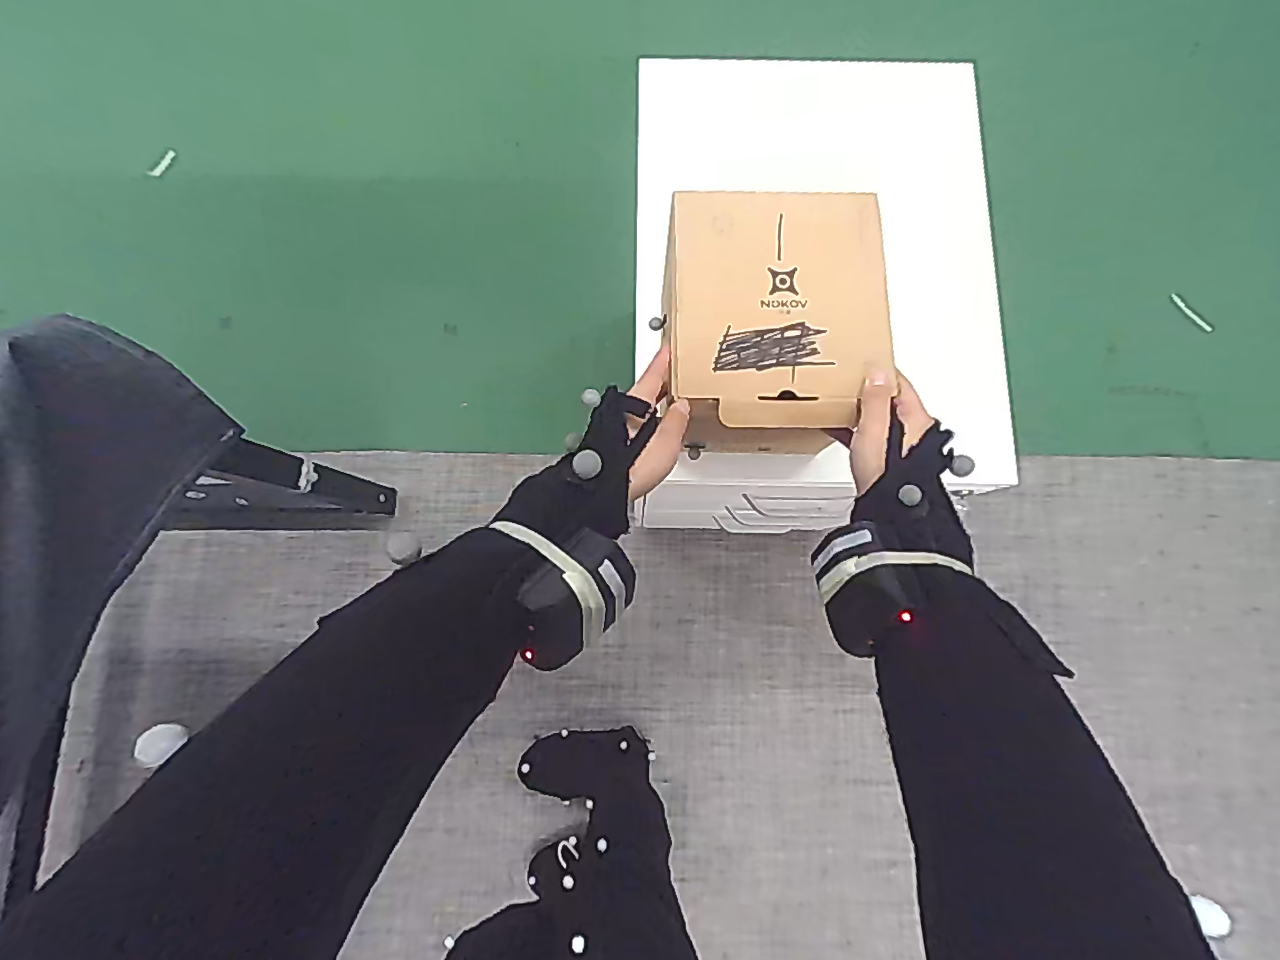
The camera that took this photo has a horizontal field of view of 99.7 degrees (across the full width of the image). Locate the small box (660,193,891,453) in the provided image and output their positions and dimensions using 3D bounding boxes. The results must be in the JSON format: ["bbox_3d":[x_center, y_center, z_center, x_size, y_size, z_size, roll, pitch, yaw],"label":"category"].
[{"bbox_3d":[0.106,-0.126,0.492,0.168,0.176,0.179,1,79,-1],"label":"small box"}]
